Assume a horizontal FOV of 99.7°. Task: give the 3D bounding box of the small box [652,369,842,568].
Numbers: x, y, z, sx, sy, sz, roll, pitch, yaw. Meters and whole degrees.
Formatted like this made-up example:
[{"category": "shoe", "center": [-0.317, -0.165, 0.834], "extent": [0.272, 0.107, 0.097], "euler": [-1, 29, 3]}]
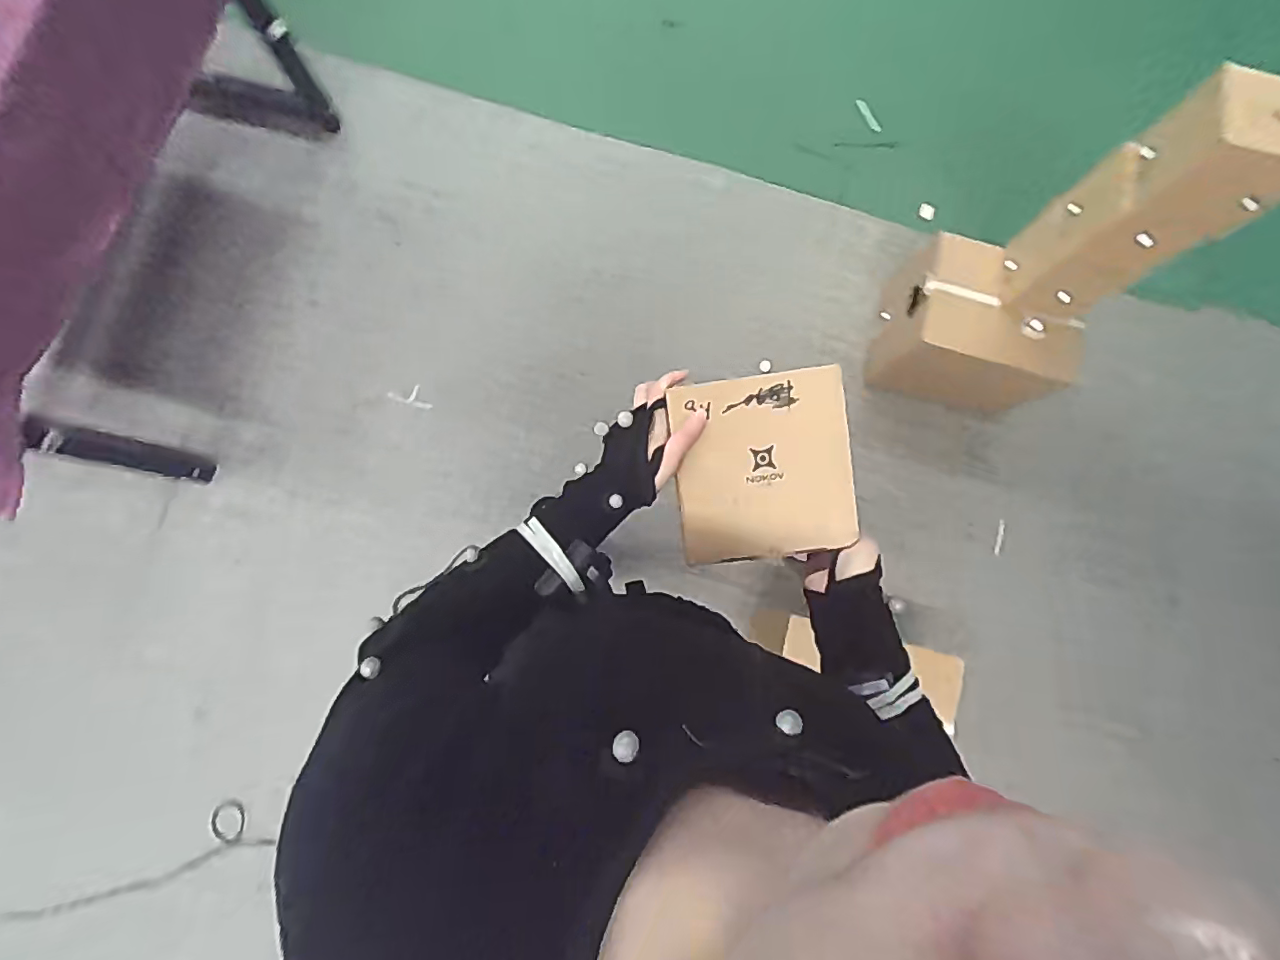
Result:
[{"category": "small box", "center": [0.108, -0.019, 0.597], "extent": [0.168, 0.176, 0.179], "euler": [-9, 96, 3]}]
